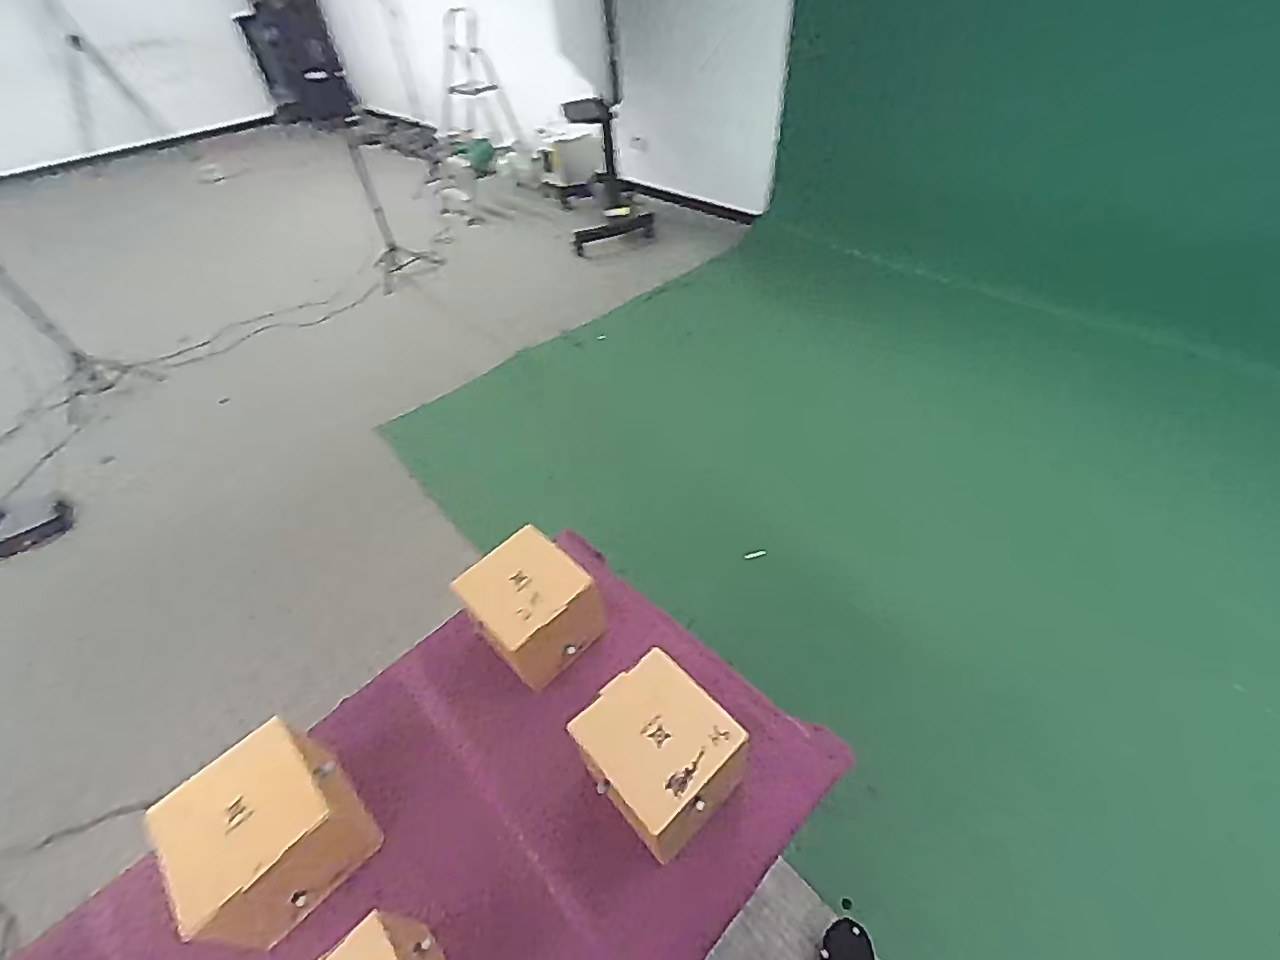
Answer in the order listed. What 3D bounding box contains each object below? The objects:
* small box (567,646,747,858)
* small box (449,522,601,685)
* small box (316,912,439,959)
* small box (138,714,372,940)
[{"bbox_3d":[0.026,0.375,0.747,0.168,0.176,0.179,-35,51,-25],"label":"small box"},{"bbox_3d":[-0.187,0.212,0.917,0.179,0.176,0.168,35,60,30],"label":"small box"},{"bbox_3d":[-0.284,0.601,0.553,0.168,0.176,0.179,-36,53,-26],"label":"small box"},{"bbox_3d":[-0.491,0.456,0.710,0.179,0.176,0.168,34,56,30],"label":"small box"}]
